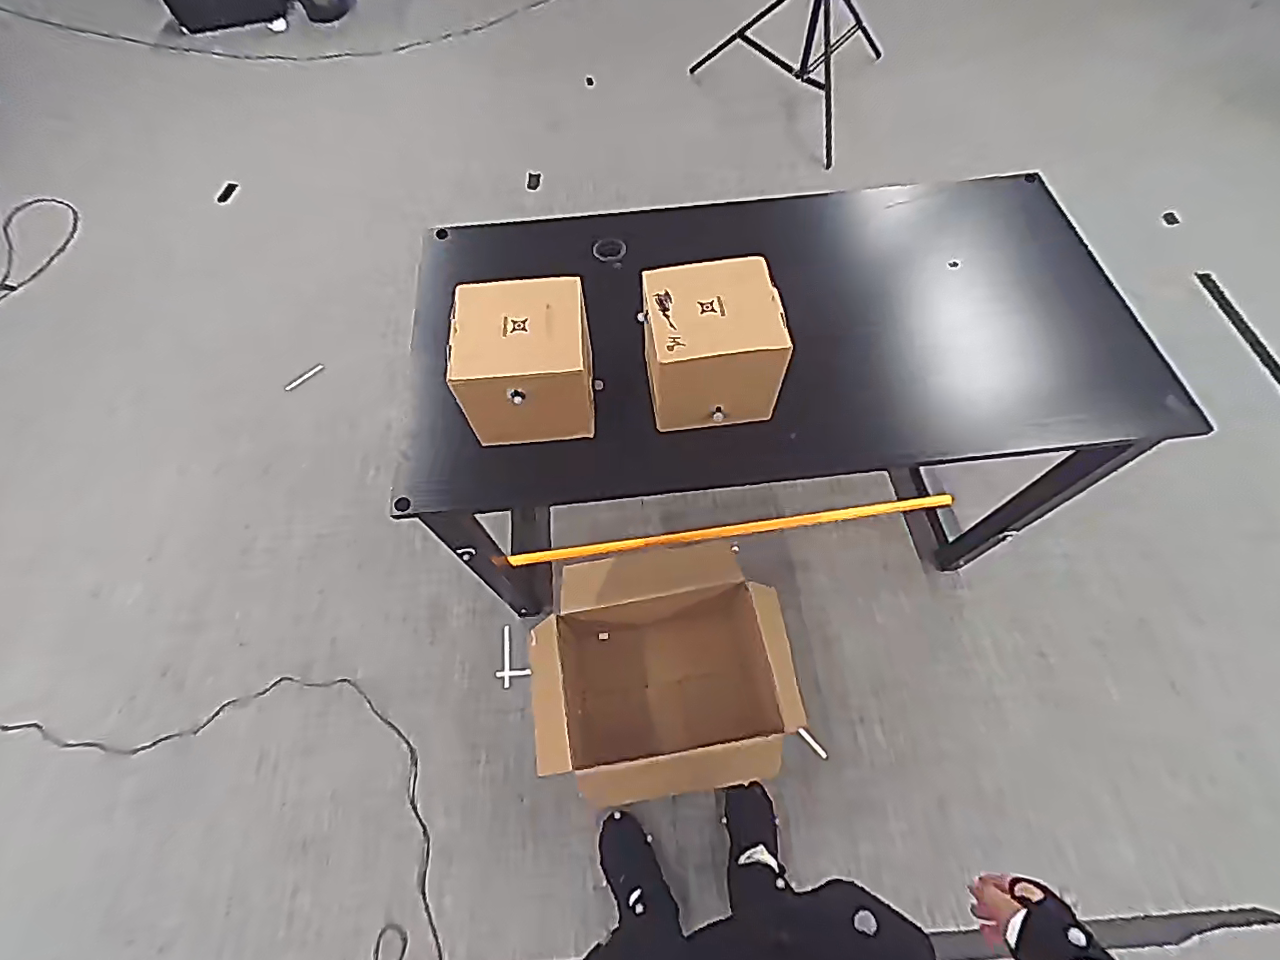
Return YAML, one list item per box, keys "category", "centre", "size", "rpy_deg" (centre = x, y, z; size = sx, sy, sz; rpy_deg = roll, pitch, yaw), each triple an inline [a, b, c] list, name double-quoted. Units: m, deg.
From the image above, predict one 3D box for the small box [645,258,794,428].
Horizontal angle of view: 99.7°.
- category: "small box"
  centre: [0.102, -0.192, 0.786]
  size: [0.179, 0.176, 0.168]
  rpy_deg: [-7, 63, -2]

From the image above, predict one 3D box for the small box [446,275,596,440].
- category: "small box"
  centre: [-0.161, -0.169, 0.783]
  size: [0.179, 0.176, 0.168]
  rpy_deg: [-5, 64, -2]
